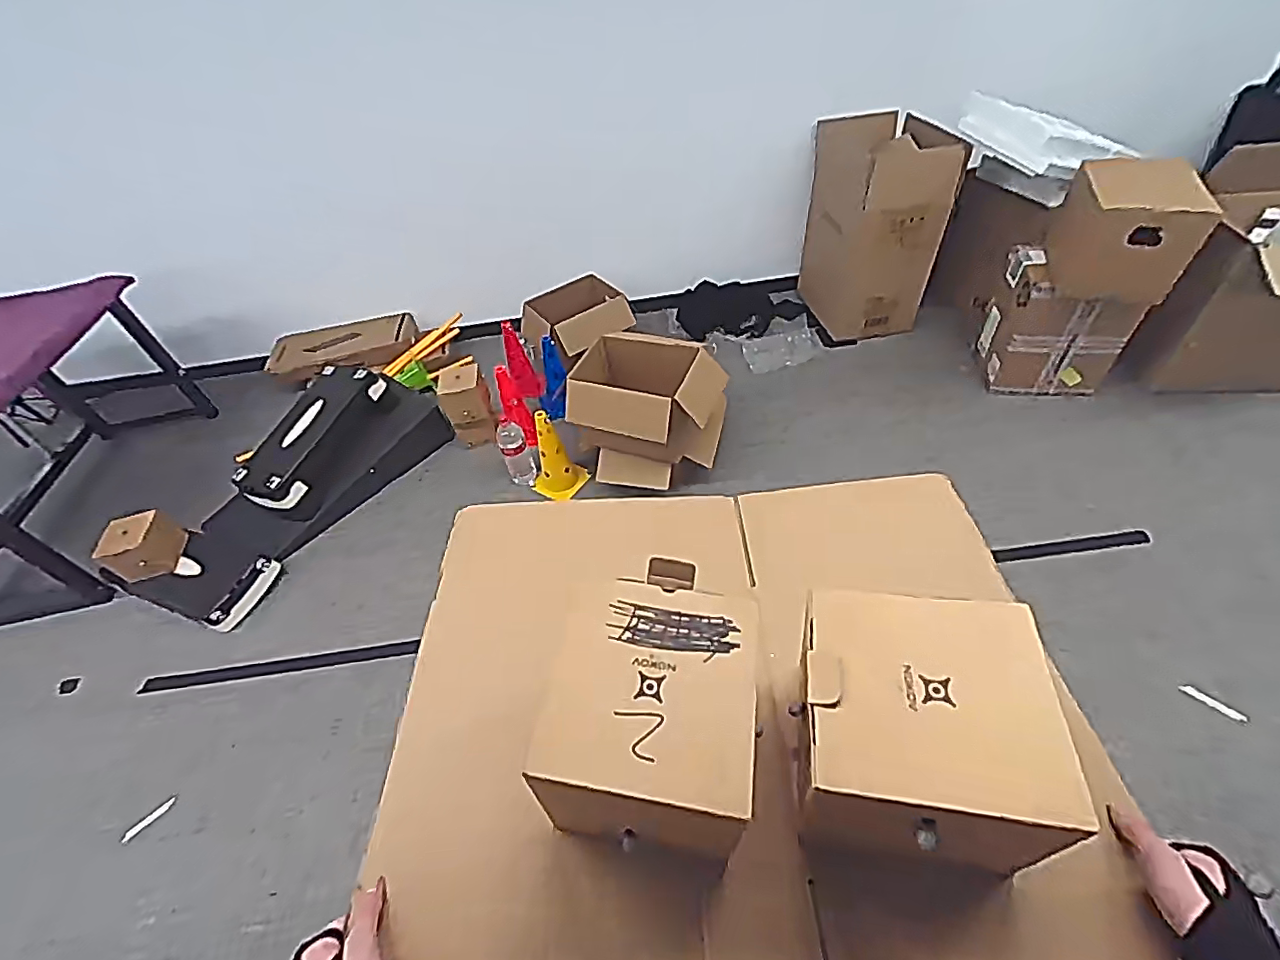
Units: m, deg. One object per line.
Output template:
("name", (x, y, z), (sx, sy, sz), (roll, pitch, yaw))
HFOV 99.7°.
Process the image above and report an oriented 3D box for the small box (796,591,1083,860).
("small box", (0.235, 0.219, 0.482), (0.179, 0.176, 0.168), (1, 48, 14))
